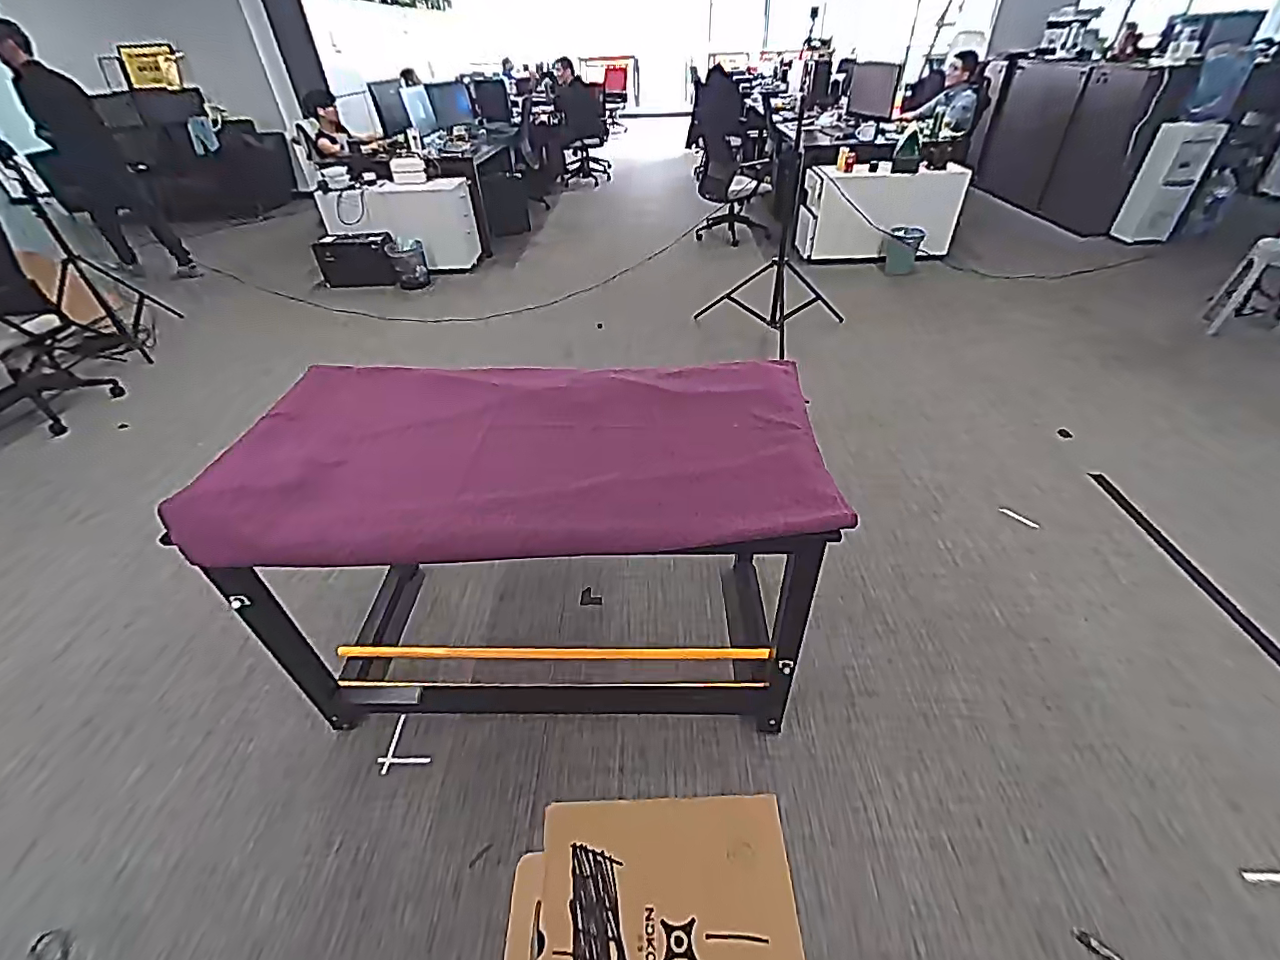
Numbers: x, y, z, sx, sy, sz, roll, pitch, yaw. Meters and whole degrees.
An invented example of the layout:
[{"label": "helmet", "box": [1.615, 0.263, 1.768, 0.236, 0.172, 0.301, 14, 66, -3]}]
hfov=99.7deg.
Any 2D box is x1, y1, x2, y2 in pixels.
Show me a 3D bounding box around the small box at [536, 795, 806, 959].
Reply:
[{"label": "small box", "box": [0.024, 0.357, 0.407, 0.179, 0.176, 0.168, -3, 43, 2]}]
